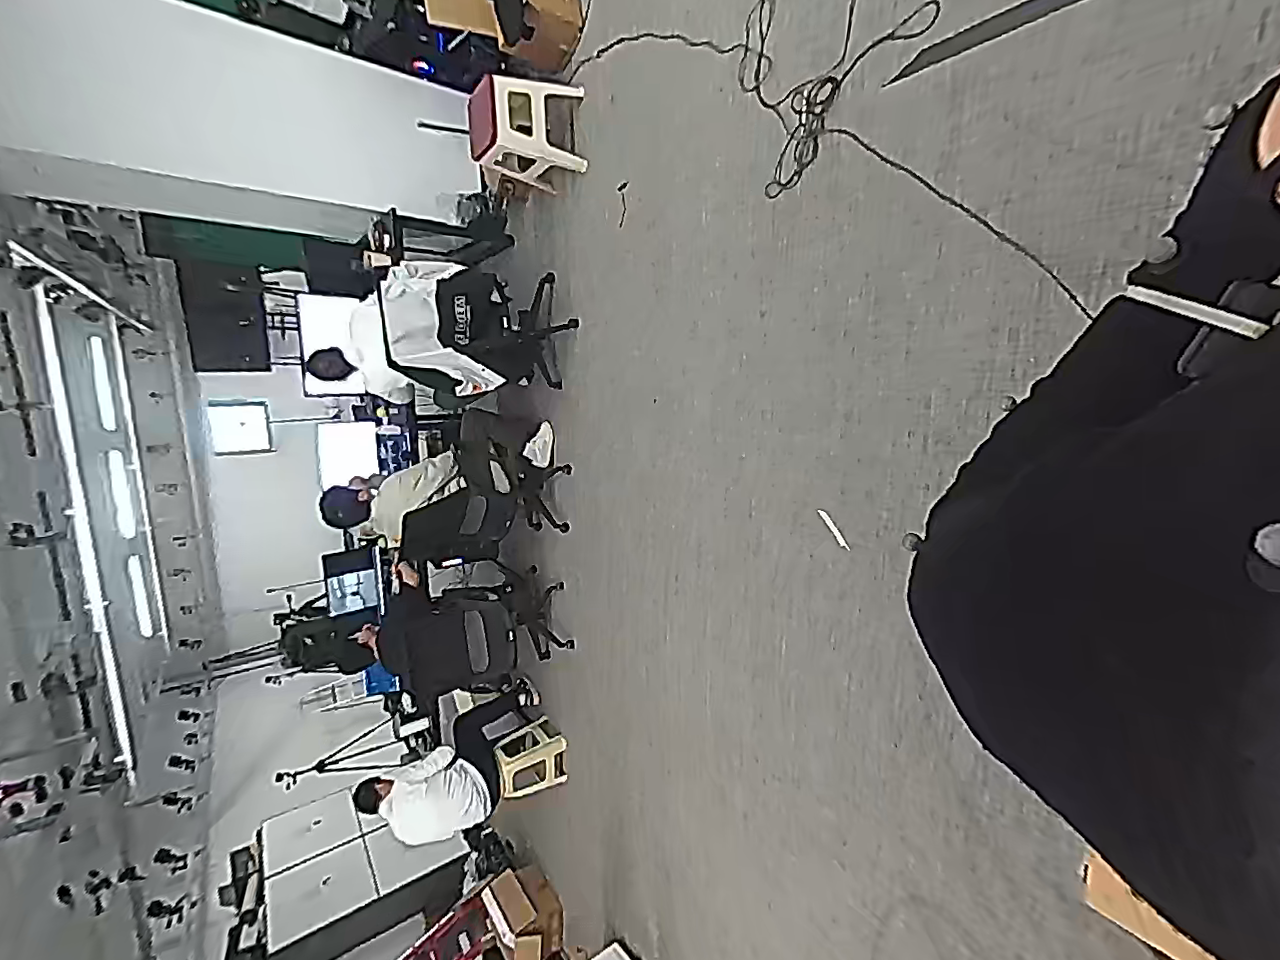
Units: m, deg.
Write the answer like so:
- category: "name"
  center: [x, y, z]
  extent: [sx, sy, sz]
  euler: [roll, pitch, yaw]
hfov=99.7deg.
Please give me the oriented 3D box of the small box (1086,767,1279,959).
- category: "small box"
  center: [0.767, 0.535, 0.752]
  extent: [0.179, 0.176, 0.168]
  euler: [12, 105, 54]
